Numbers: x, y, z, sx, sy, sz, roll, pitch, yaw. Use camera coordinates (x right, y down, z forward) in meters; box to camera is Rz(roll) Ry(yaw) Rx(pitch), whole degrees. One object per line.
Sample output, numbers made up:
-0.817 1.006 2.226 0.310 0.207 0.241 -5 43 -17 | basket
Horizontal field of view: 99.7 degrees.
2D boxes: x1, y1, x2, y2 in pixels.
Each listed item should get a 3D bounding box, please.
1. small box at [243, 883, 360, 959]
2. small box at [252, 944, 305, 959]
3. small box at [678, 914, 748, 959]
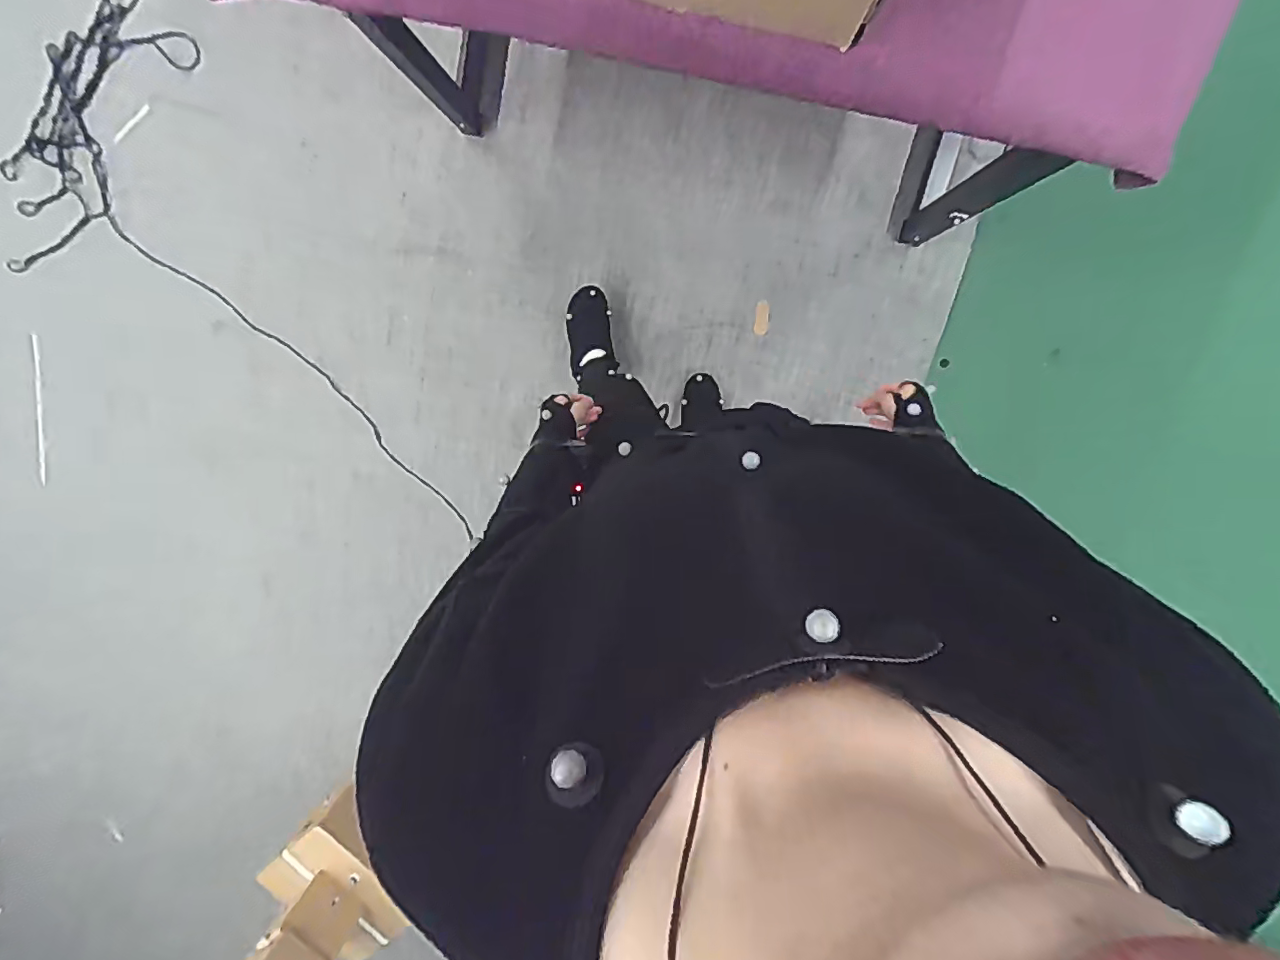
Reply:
-0.911 1.240 1.460 0.179 0.176 0.168 43 103 -4 | small box
-0.908 1.270 1.297 0.168 0.176 0.179 -42 97 12 | small box
0.181 1.252 1.368 0.168 0.176 0.179 5 102 4 | small box
